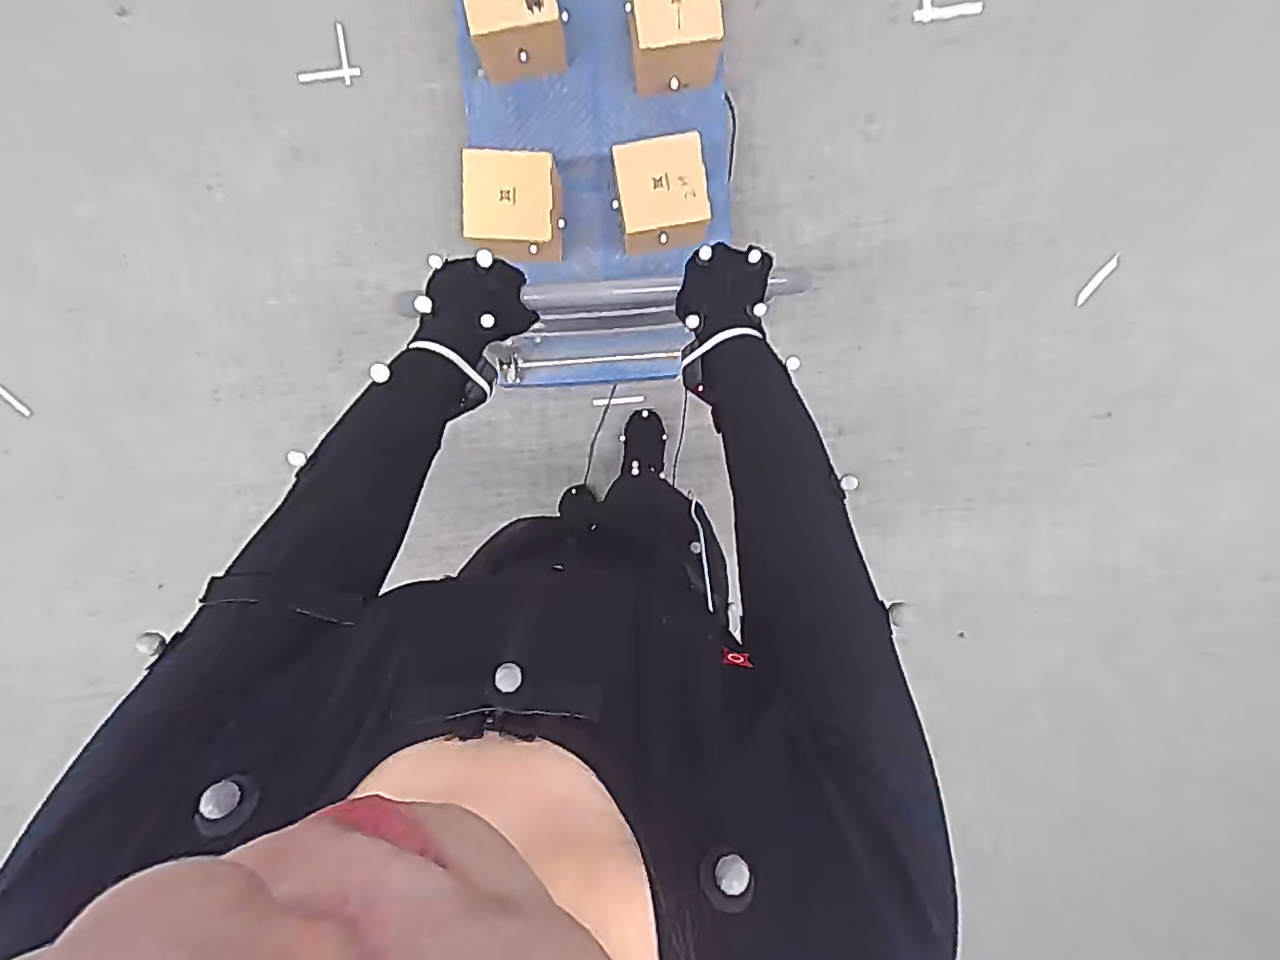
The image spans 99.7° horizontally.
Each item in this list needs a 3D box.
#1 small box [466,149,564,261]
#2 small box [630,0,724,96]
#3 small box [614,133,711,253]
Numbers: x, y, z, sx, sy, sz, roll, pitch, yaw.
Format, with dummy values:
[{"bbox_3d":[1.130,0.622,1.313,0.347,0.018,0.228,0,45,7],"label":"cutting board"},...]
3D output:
[{"bbox_3d":[-0.259,-0.576,1.152,0.179,0.176,0.168,1,97,-3],"label":"small box"},{"bbox_3d":[0.070,-0.936,1.109,0.168,0.176,0.179,-8,99,0],"label":"small box"},{"bbox_3d":[0.046,-0.600,1.153,0.179,0.176,0.168,-10,98,1],"label":"small box"}]
